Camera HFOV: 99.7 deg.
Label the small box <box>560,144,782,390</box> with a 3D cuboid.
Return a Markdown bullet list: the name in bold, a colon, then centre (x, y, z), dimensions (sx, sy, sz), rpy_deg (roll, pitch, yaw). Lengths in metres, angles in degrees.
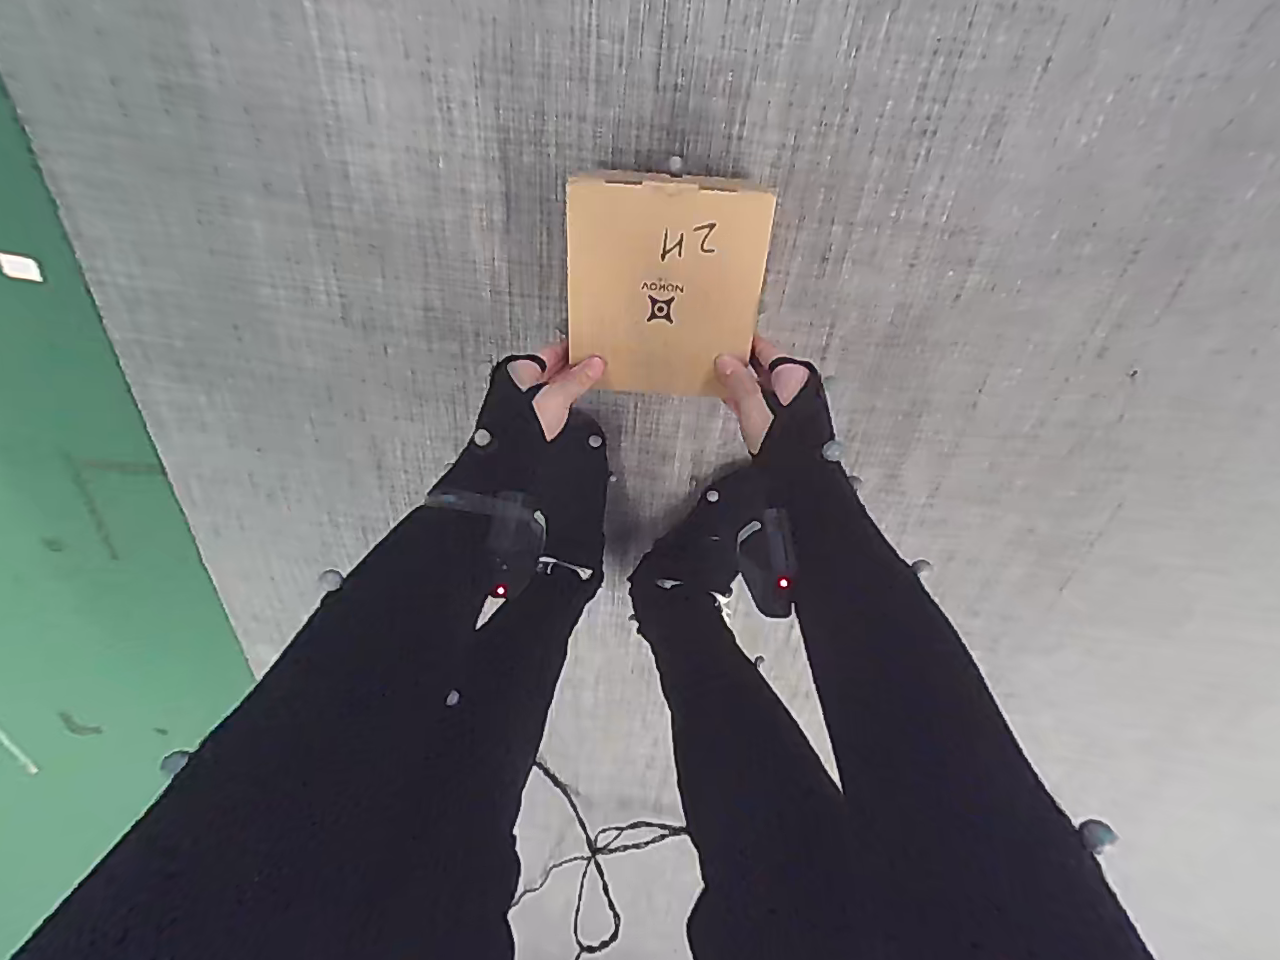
- **small box**: centre (0.024, -0.205, 0.508), dimensions (0.168, 0.176, 0.179), rpy_deg (7, 122, 1)
